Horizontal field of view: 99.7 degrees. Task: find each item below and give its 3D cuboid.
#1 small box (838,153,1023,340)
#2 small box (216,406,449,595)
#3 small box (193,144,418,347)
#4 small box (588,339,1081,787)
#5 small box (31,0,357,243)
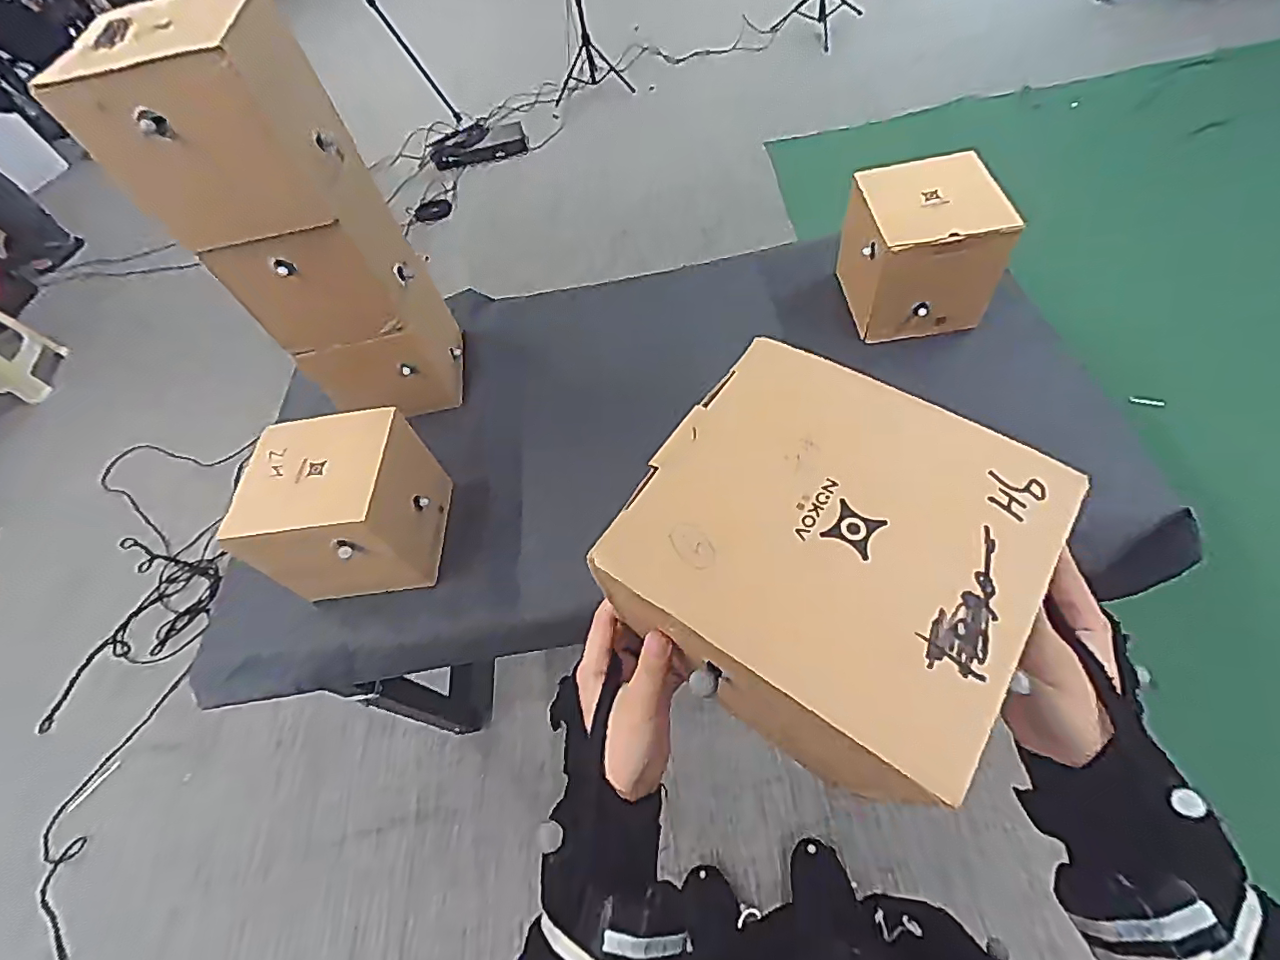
[{"bbox_3d":[0.398,-0.332,0.782,0.168,0.176,0.179,-7,59,6],"label":"small box"},{"bbox_3d":[-0.363,0.032,0.682,0.179,0.176,0.168,-8,54,5],"label":"small box"},{"bbox_3d":[-0.419,-0.299,0.712,0.179,0.176,0.168,-12,59,1],"label":"small box"},{"bbox_3d":[0.097,0.055,0.322,0.179,0.176,0.168,30,68,20],"label":"small box"},{"bbox_3d":[-0.438,-0.377,0.568,0.179,0.176,0.168,-10,59,2],"label":"small box"}]
